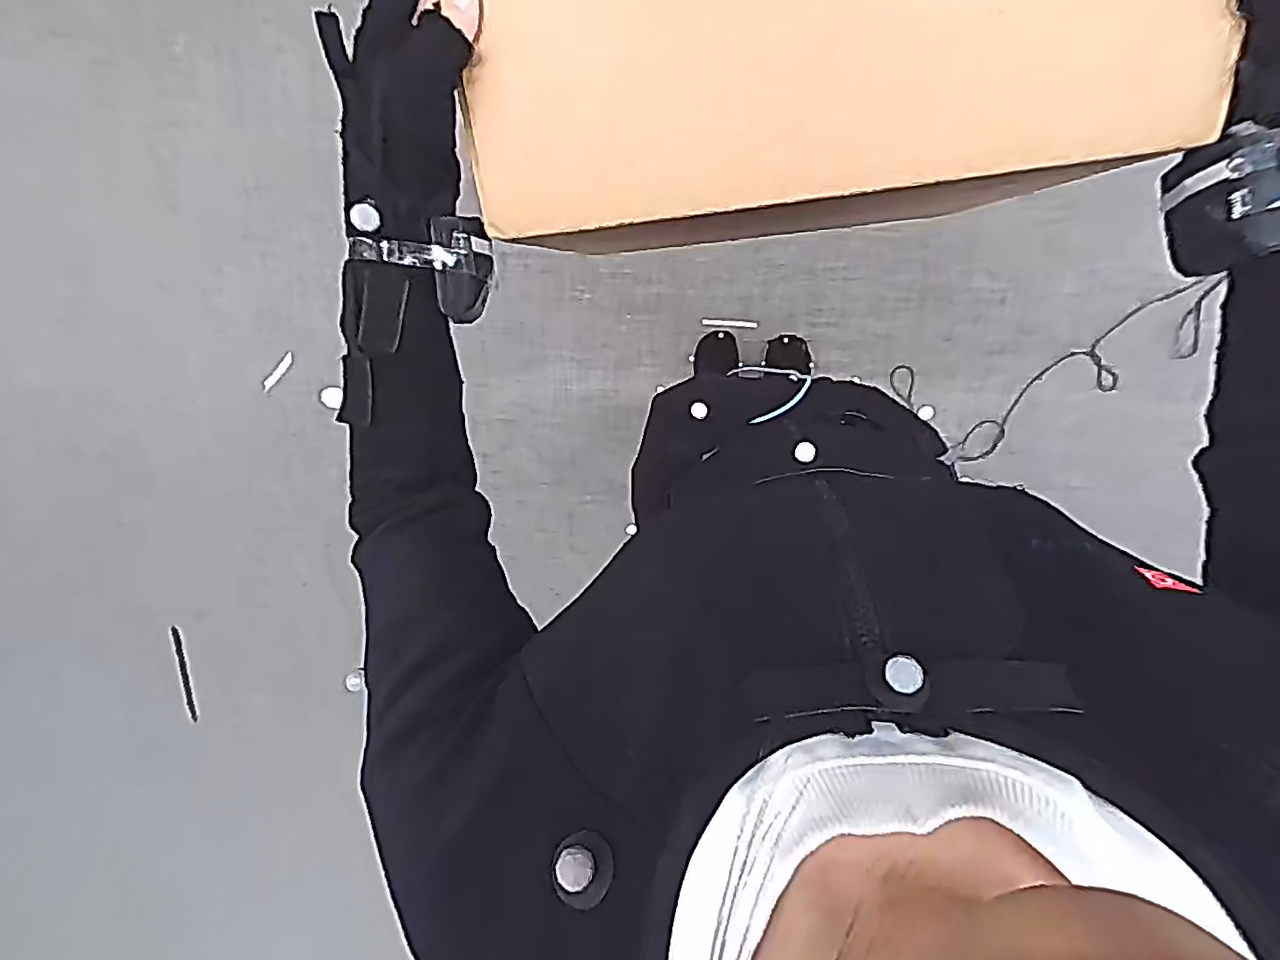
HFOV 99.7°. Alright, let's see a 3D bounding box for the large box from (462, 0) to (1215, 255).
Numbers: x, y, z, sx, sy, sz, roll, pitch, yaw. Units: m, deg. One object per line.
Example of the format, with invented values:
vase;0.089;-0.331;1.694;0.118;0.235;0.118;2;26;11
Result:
large box;0.103;-0.371;0.415;0.408;0.320;0.320;-4;110;9
